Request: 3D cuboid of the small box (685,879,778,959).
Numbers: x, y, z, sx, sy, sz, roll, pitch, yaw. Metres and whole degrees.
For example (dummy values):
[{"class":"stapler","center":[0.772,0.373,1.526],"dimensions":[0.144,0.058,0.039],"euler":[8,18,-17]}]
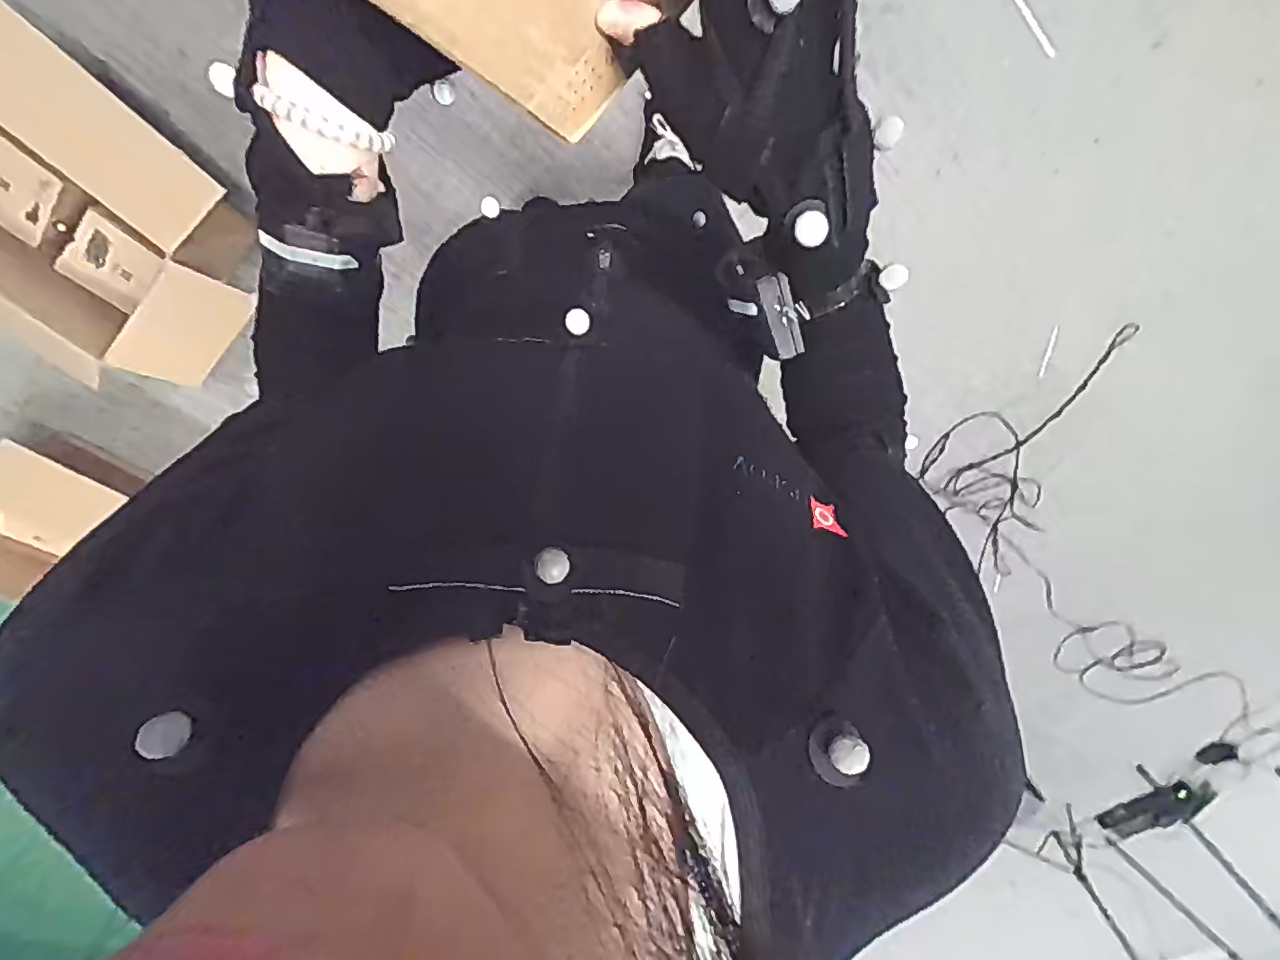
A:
[{"class":"small box","center":[0.246,1.239,1.494],"dimensions":[0.179,0.176,0.168],"euler":[33,114,-22]}]
